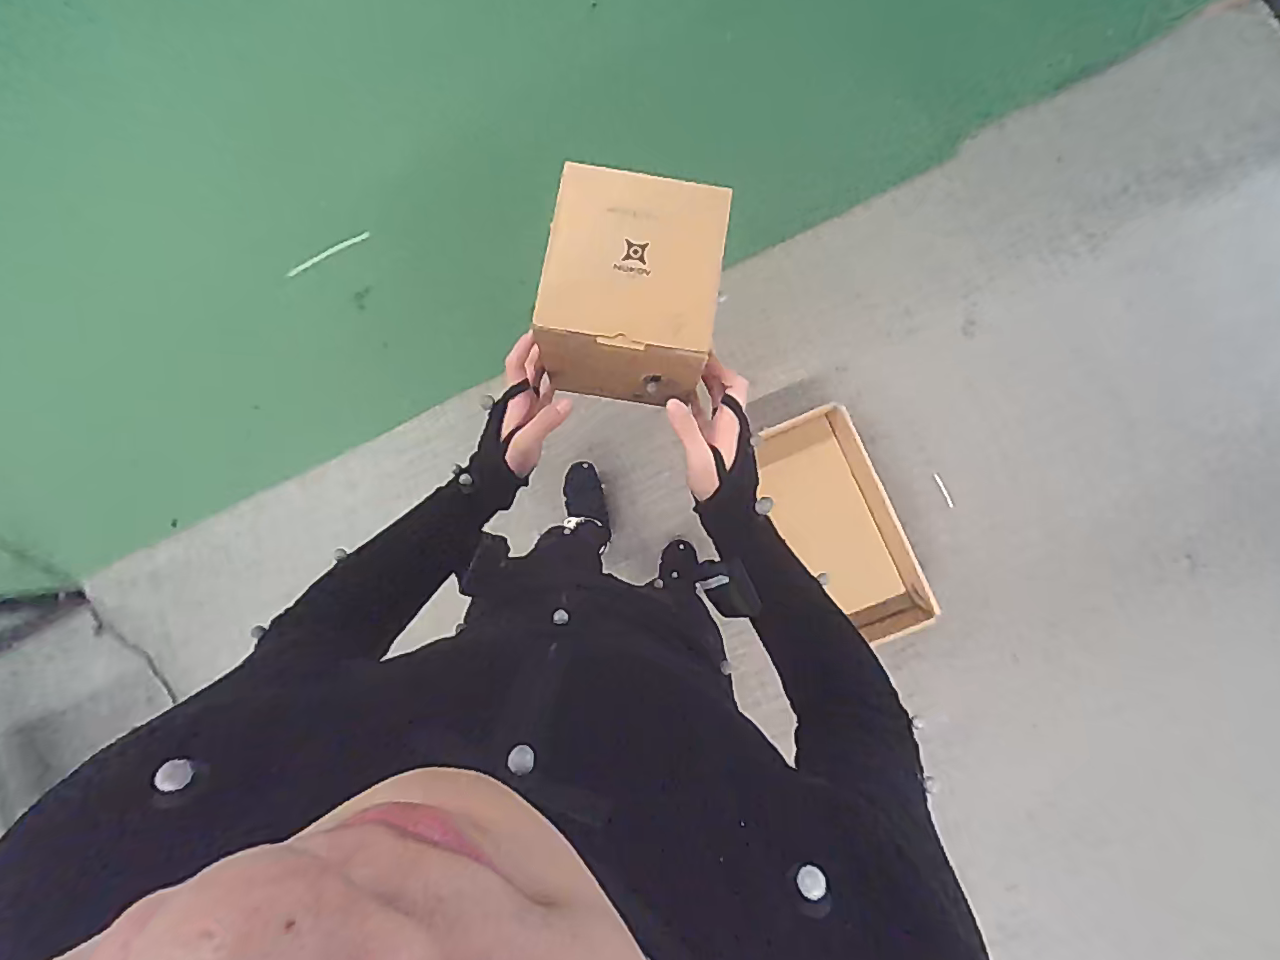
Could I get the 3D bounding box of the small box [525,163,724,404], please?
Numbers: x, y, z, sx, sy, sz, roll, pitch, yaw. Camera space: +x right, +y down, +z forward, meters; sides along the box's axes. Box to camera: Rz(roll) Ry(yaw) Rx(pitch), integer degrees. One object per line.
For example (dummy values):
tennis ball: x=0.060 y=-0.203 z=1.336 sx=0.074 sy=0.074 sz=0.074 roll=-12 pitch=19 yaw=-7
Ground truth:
small box: x=-0.014 y=-0.195 z=0.583 sx=0.168 sy=0.176 sz=0.179 roll=9 pitch=79 yaw=-1
